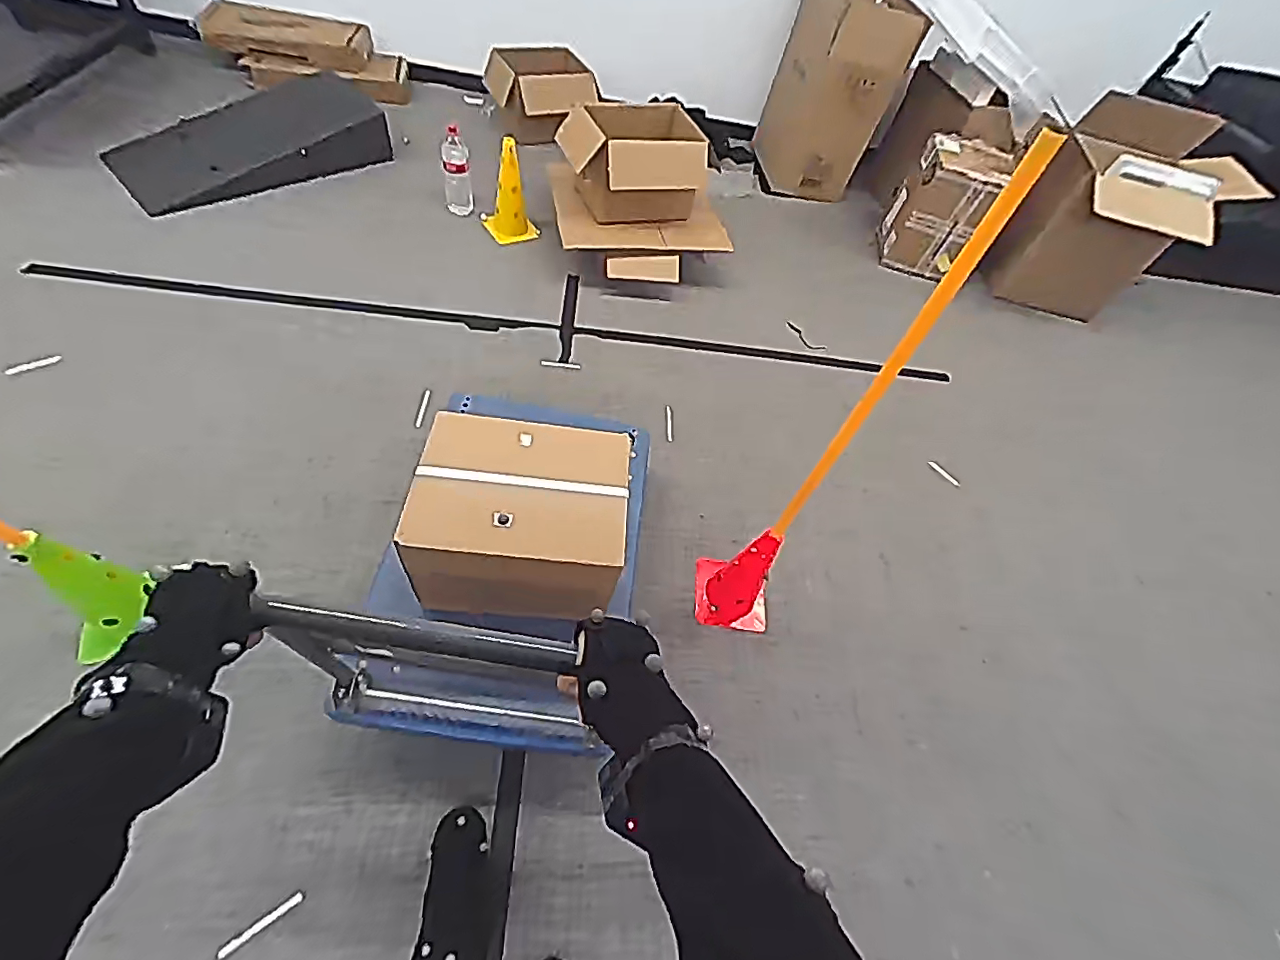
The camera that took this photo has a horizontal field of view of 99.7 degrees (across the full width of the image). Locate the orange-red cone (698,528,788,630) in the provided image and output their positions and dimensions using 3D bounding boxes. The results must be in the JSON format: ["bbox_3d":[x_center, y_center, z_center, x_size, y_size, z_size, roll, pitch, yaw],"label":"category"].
[{"bbox_3d":[0.295,0.222,1.383,0.199,0.360,0.198,11,55,-5],"label":"orange-red cone"}]
